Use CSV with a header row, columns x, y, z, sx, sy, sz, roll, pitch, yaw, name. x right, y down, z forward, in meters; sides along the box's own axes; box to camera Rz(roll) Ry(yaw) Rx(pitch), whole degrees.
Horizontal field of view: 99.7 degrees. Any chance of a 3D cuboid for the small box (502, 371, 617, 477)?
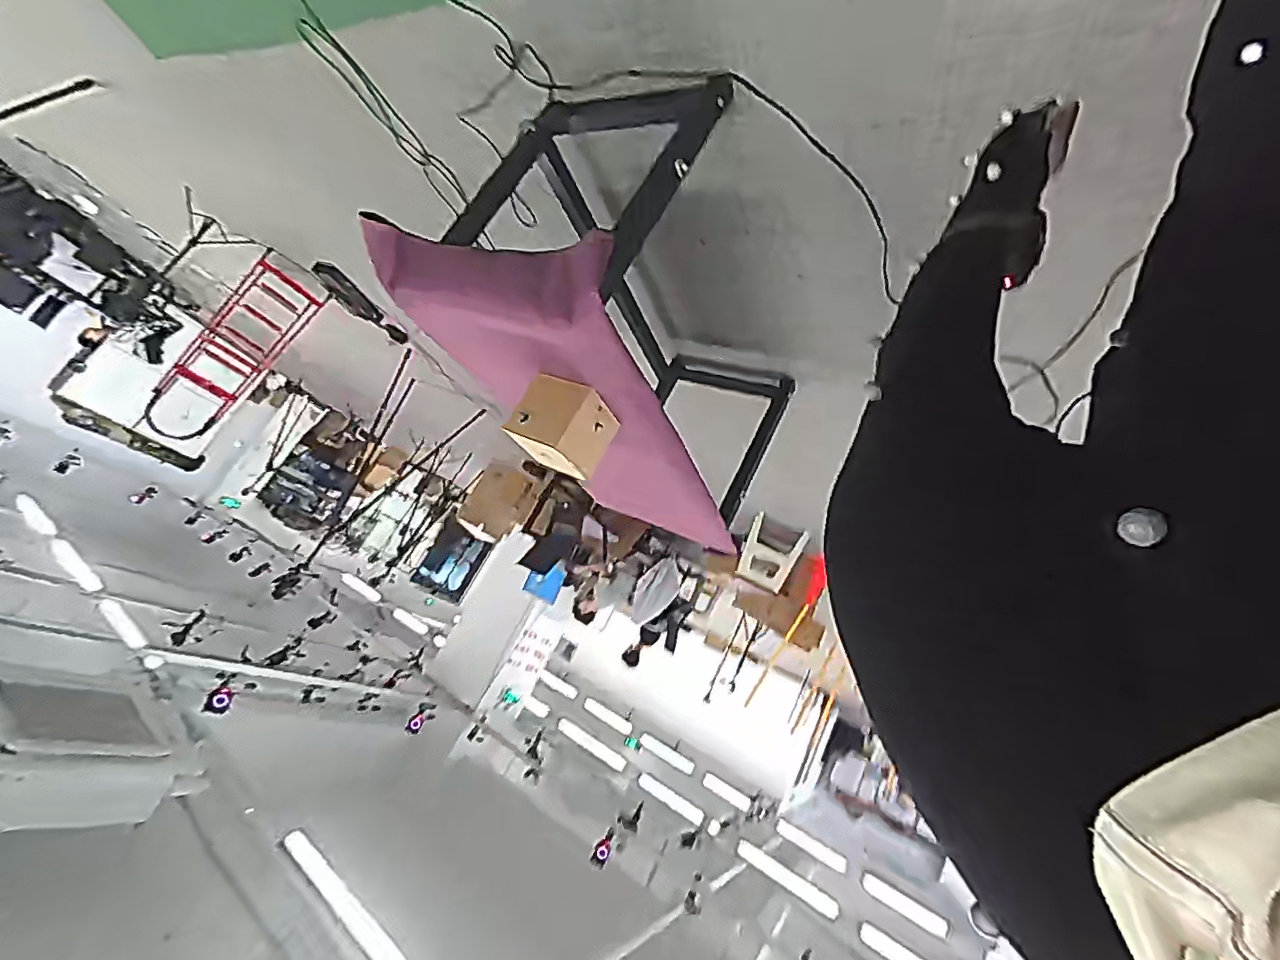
x,y,z,sx,sy,sz,roll,pitch,yaw,name
-0.187,-0.138,1.292,0.179,0.176,0.168,21,163,30,small box
